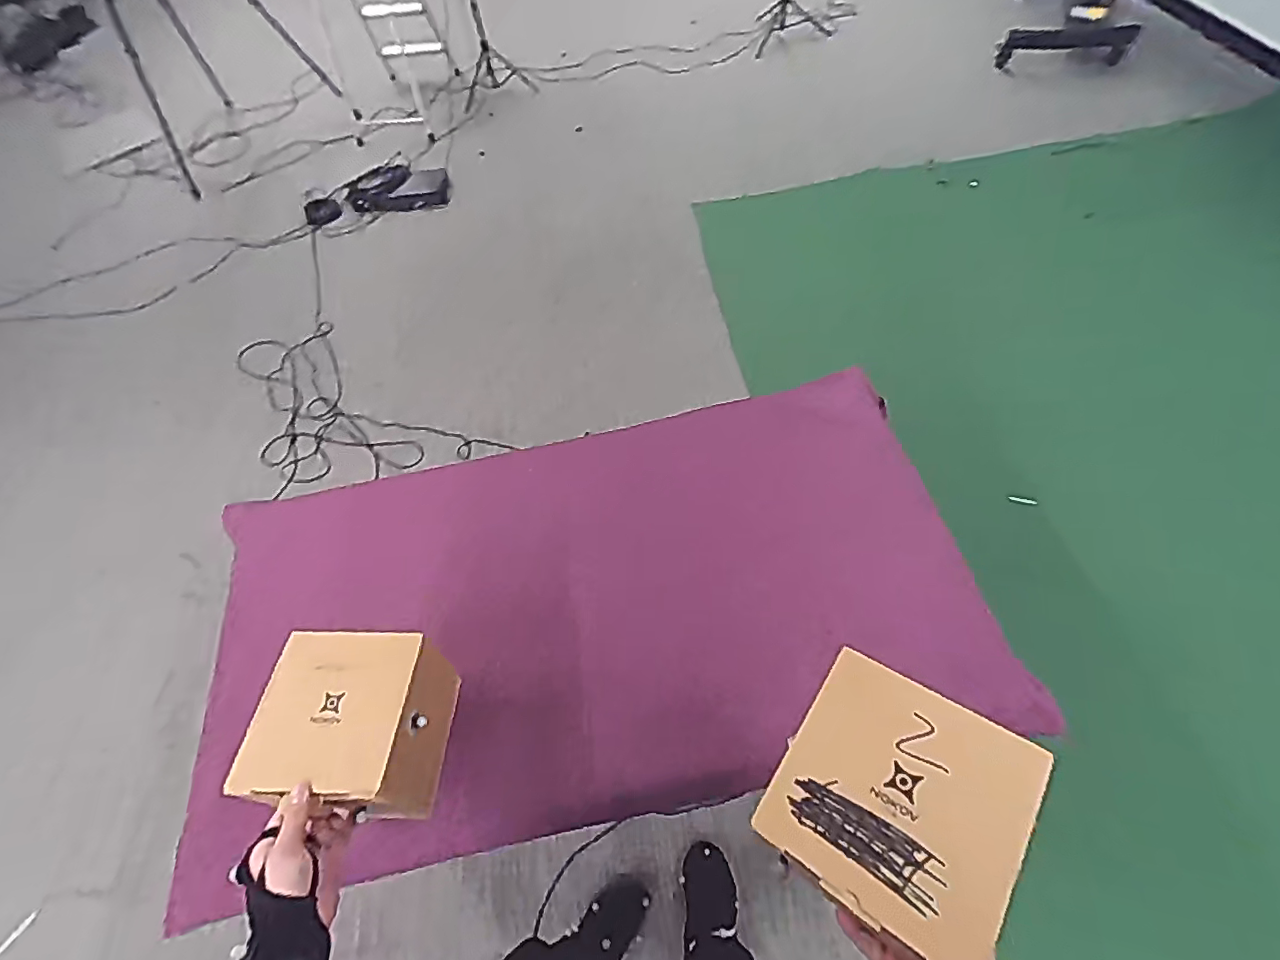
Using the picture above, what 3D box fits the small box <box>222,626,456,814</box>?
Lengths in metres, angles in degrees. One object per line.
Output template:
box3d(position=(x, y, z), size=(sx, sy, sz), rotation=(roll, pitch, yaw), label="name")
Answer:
box3d(position=(-0.344, 0.298, 0.665), size=(0.168, 0.176, 0.179), rotation=(2, 51, 3), label="small box")
